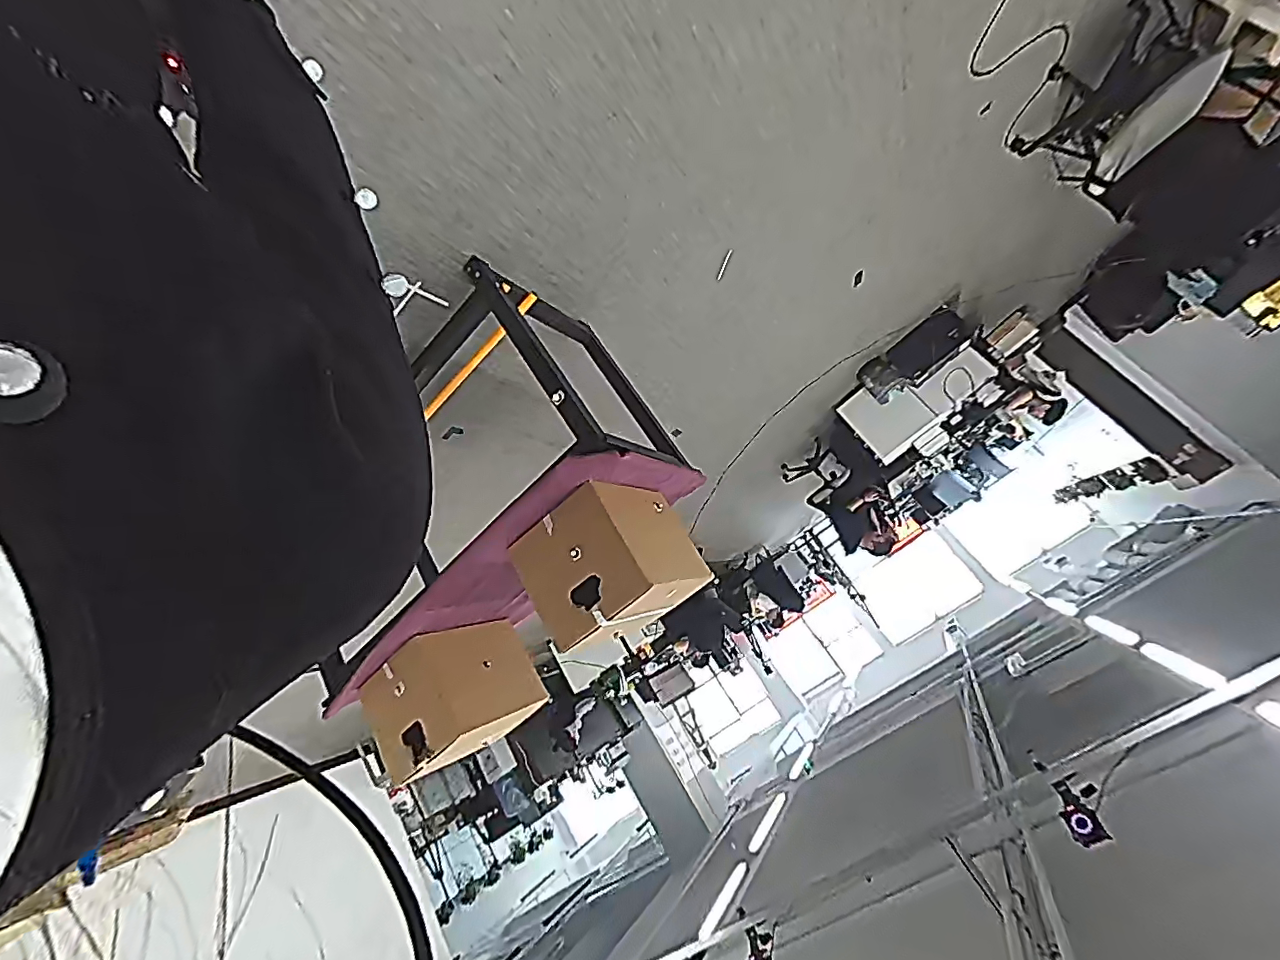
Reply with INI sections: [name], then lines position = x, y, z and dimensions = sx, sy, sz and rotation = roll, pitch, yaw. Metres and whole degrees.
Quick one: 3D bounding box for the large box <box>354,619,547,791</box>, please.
[large box]
position = -0.578, 0.668, 1.677
dimensions = 0.320, 0.320, 0.408
rotation = -41, 159, 18
